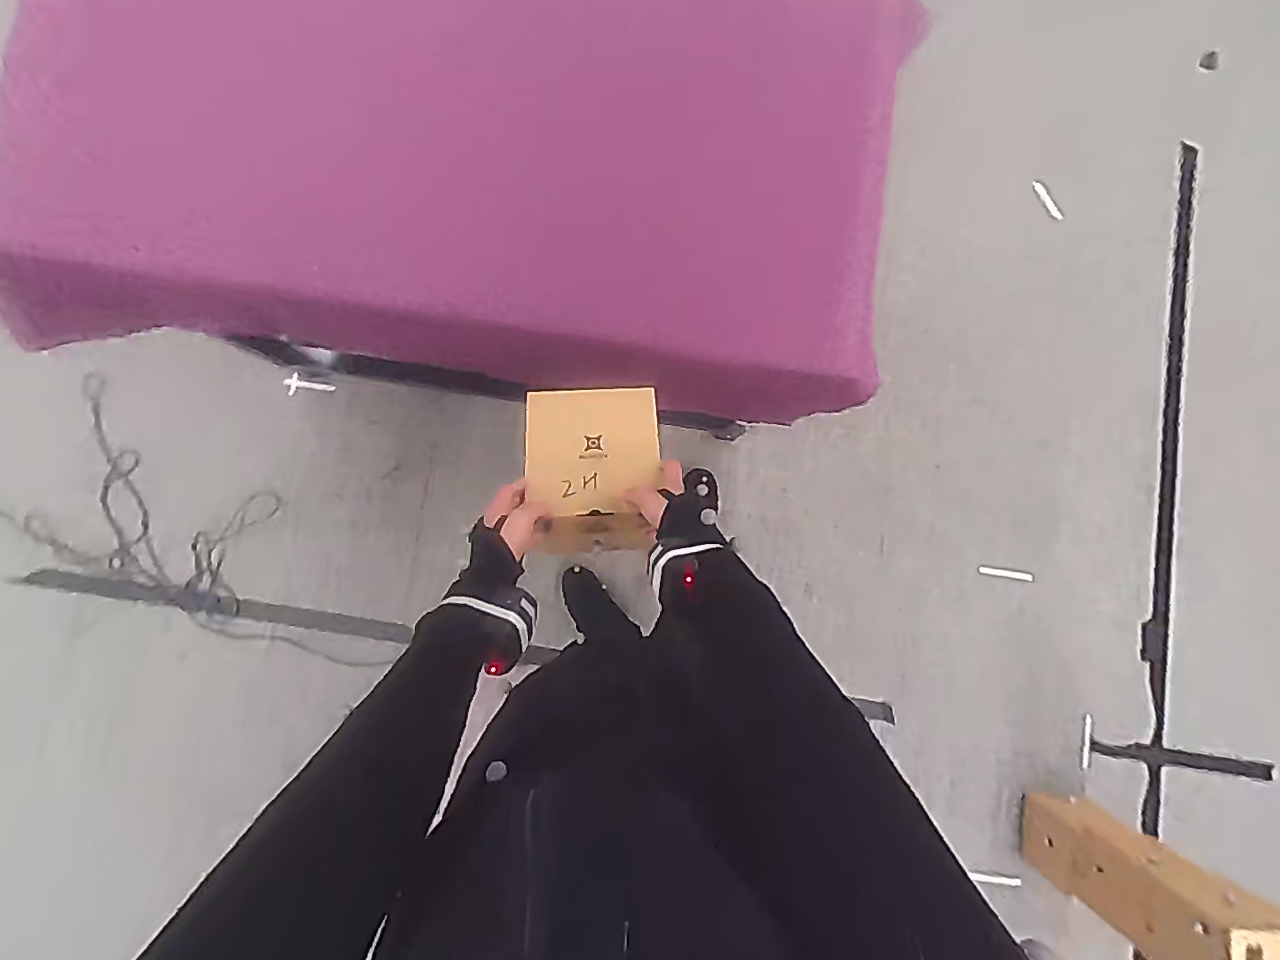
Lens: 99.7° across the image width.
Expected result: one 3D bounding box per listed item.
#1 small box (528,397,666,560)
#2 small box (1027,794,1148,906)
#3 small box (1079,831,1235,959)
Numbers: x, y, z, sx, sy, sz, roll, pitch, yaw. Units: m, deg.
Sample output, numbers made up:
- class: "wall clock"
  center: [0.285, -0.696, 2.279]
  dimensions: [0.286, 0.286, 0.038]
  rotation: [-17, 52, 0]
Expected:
- class: "small box"
  center: [-0.056, 0.003, 0.743]
  dimensions: [0.168, 0.176, 0.179]
  rotation: [-2, 69, -2]
- class: "small box"
  center: [1.104, 0.920, 1.346]
  dimensions: [0.168, 0.176, 0.179]
  rotation: [6, 85, -1]
- class: "small box"
  center: [1.122, 0.907, 1.185]
  dimensions: [0.179, 0.176, 0.168]
  rotation: [11, 86, 0]
